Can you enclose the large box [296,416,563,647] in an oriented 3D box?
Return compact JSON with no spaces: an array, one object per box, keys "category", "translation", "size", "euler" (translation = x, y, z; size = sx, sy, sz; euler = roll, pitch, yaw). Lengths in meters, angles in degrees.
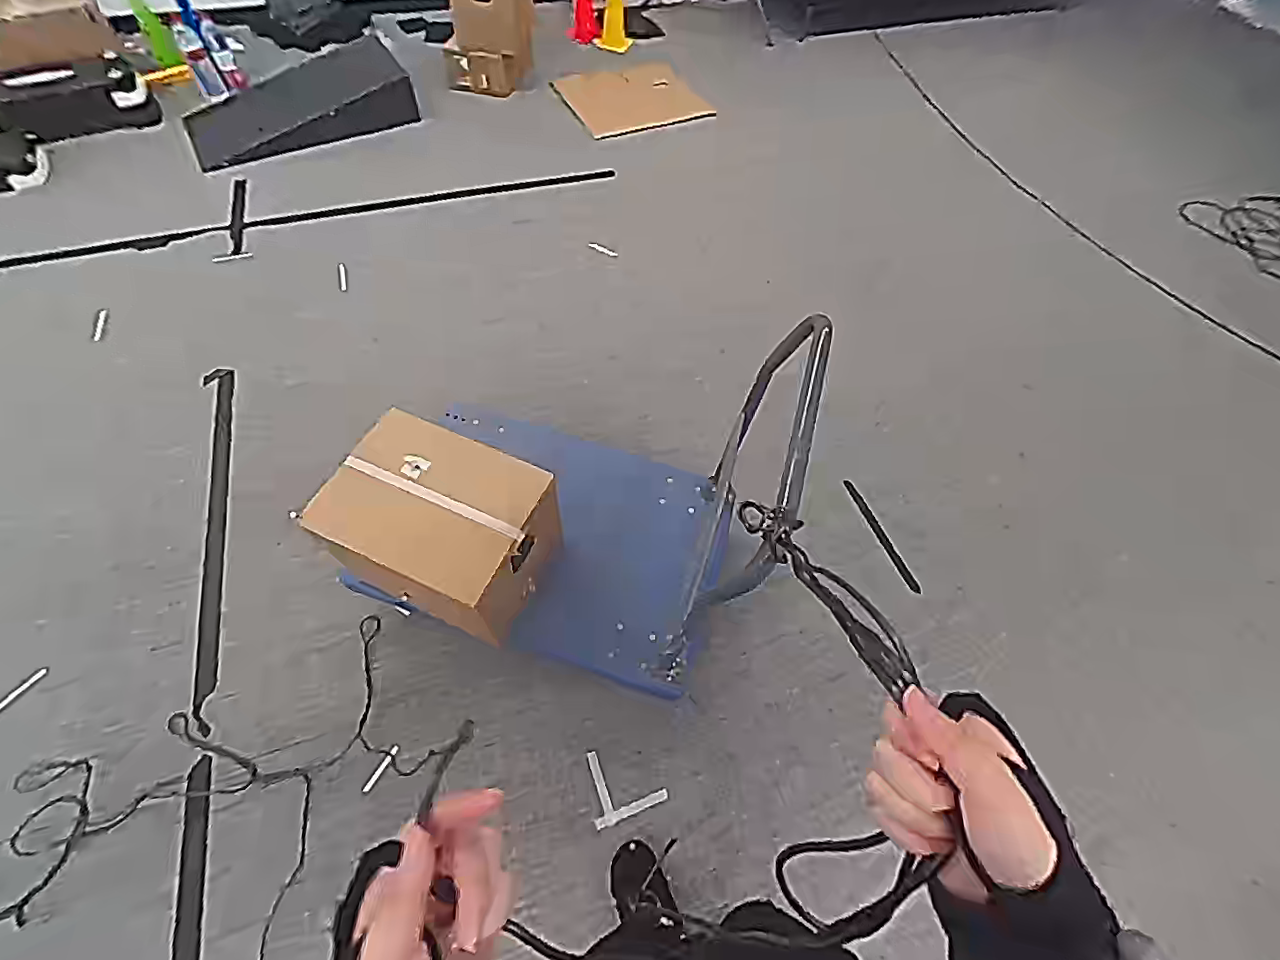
[{"category":"large box","translation":[-0.423,0.122,1.199],"size":[0.408,0.320,0.320],"euler":[21,59,10]}]
